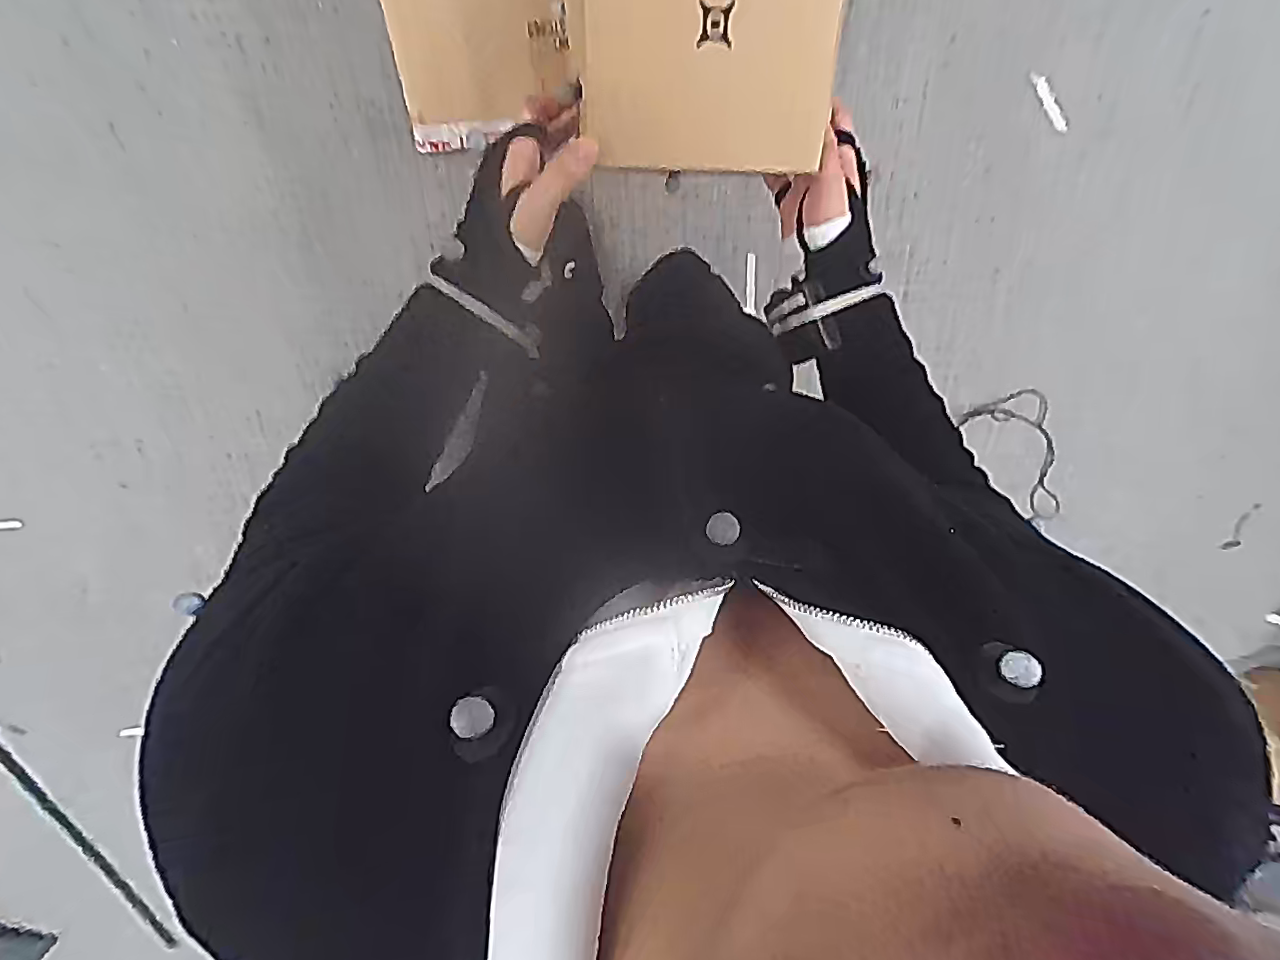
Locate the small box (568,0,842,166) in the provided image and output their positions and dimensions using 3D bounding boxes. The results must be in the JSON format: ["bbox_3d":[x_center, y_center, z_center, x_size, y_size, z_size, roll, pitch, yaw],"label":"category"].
[{"bbox_3d":[0.035,-0.336,0.400,0.168,0.176,0.179,-4,119,-9],"label":"small box"}]

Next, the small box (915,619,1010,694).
[{"bbox_3d":[1.036,0.566,1.752,0.179,0.176,0.168,0,116,-7],"label":"small box"}]
